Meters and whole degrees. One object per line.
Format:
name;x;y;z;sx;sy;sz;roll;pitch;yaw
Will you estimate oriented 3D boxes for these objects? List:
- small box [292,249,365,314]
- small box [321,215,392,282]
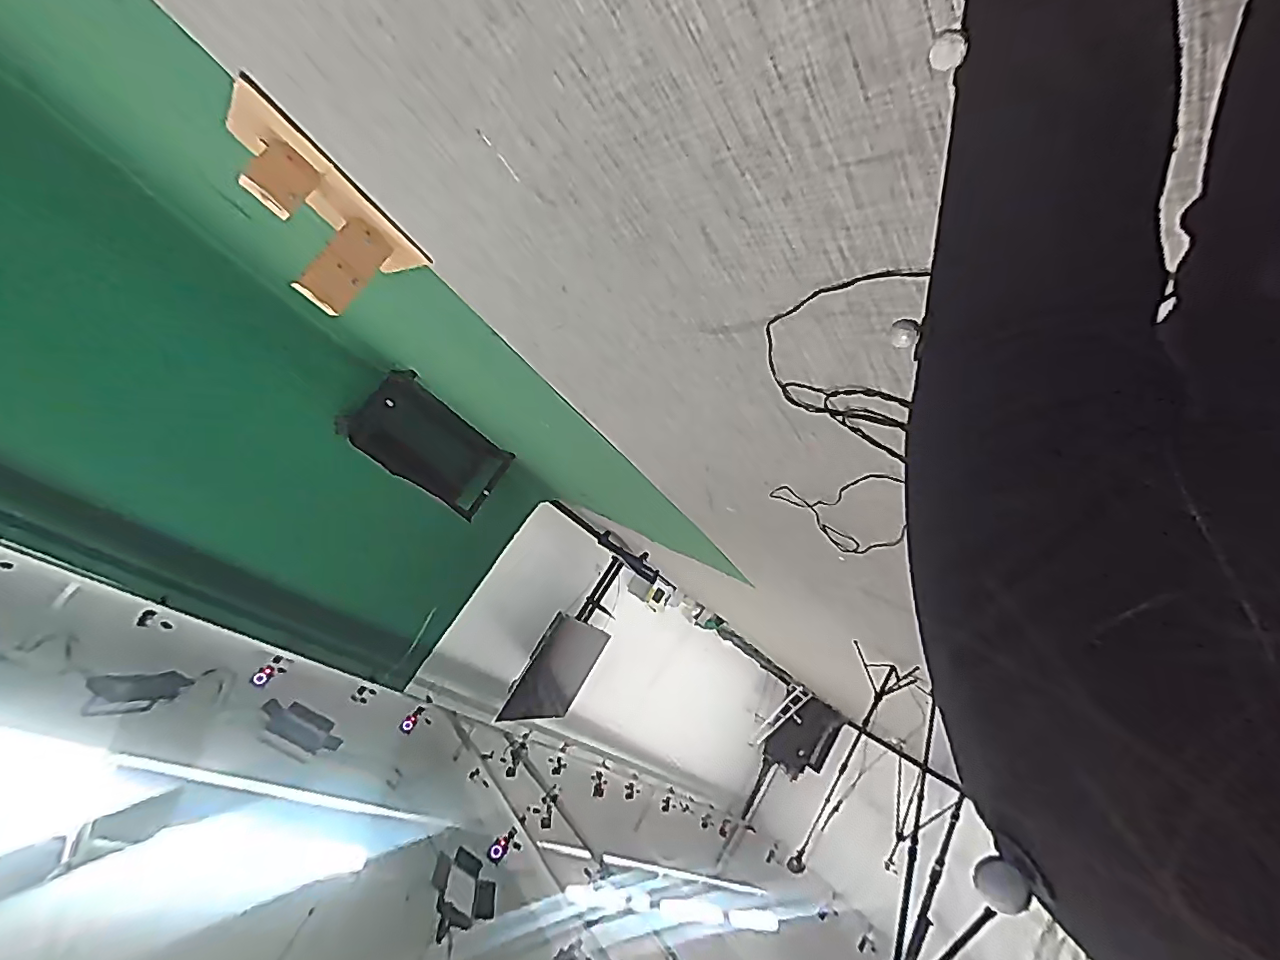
small box;-1.176;-0.751;2.049;0.179;0.176;0.168;21;163;48
small box;-1.088;-0.886;2.081;0.179;0.176;0.168;19;162;49
